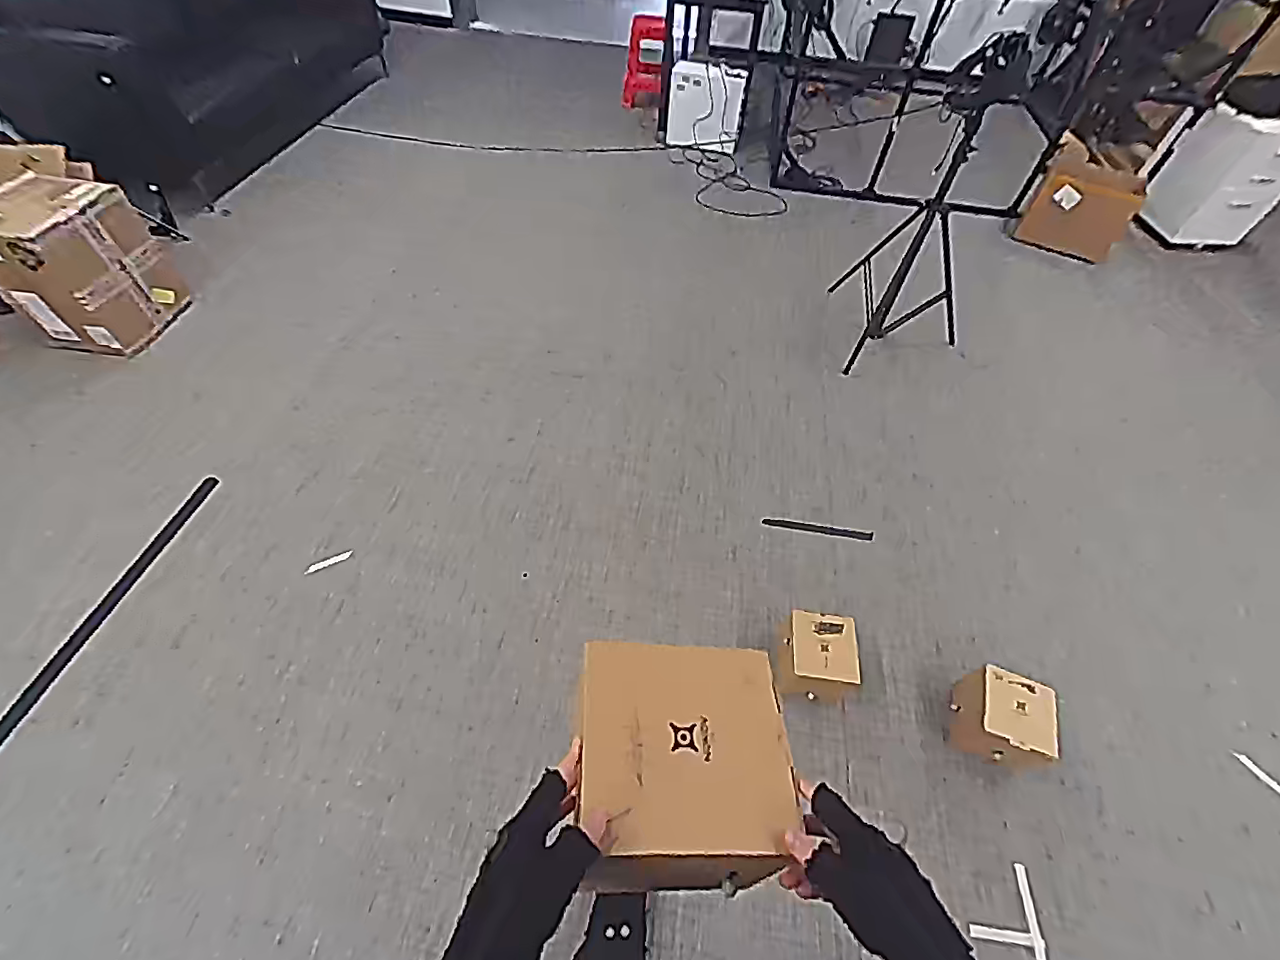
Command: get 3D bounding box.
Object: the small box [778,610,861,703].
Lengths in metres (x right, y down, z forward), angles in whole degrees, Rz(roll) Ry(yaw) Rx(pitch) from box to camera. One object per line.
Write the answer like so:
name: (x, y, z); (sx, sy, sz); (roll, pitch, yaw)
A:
small box: (0.467, 0.469, 1.433); (0.168, 0.176, 0.179); (8, 53, 3)

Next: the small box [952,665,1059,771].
small box: (0.911, 0.602, 1.359); (0.168, 0.176, 0.179); (21, 55, 12)

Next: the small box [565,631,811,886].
small box: (0.028, 0.258, 0.500); (0.179, 0.176, 0.168); (4, 44, -8)
